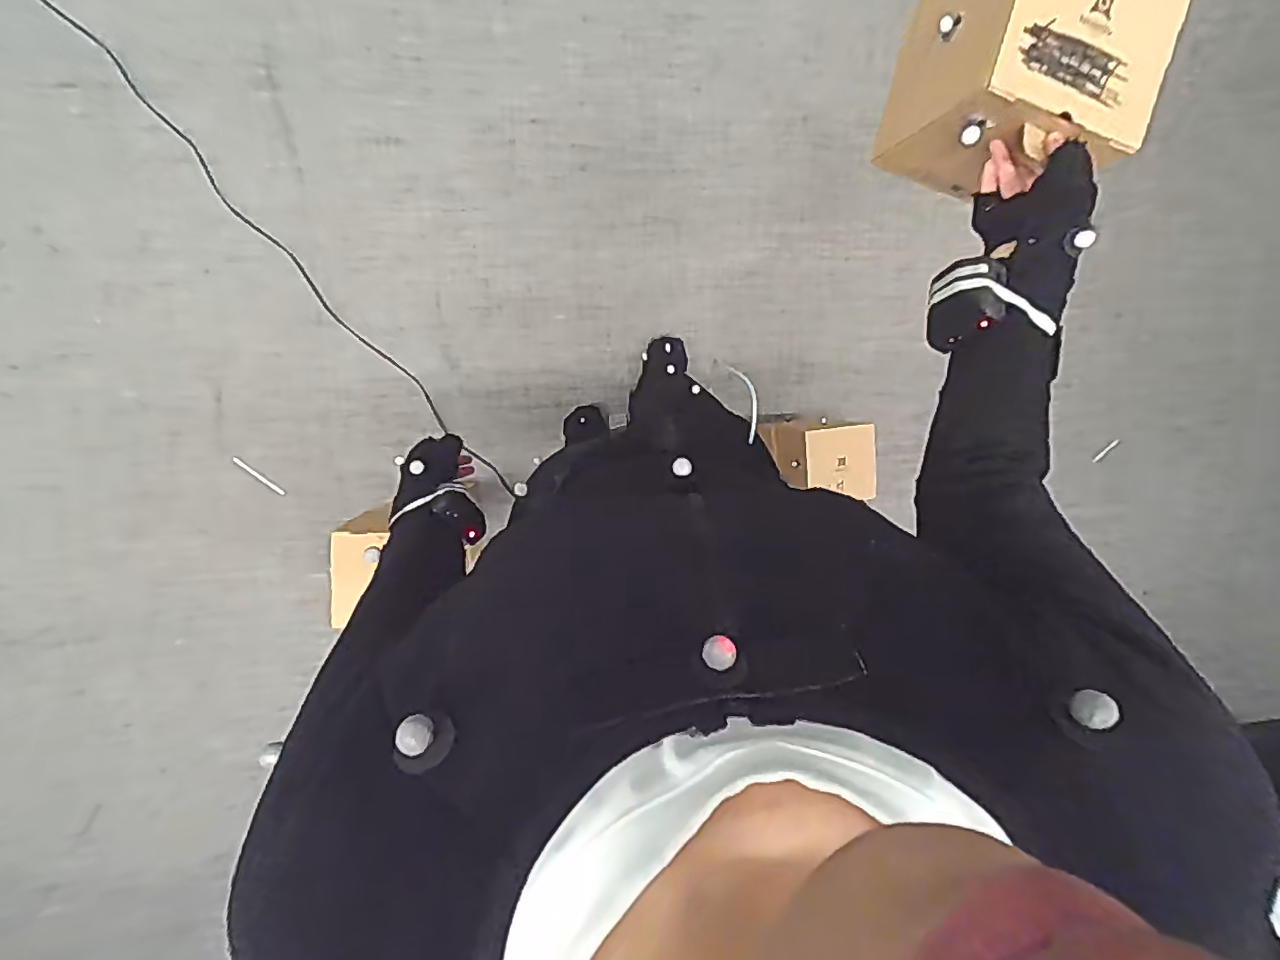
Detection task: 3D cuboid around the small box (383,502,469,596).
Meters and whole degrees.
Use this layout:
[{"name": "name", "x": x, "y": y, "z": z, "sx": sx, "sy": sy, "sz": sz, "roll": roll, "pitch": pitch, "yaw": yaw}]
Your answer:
[{"name": "small box", "x": -0.475, "y": 0.147, "z": 1.185, "sx": 0.168, "sy": 0.176, "sz": 0.179, "roll": -2, "pitch": 100, "yaw": -8}]

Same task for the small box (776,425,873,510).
[{"name": "small box", "x": 0.433, "y": -0.037, "z": 1.290, "sx": 0.168, "sy": 0.176, "sz": 0.179, "roll": -7, "pitch": 100, "yaw": -7}]

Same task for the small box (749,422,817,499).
[{"name": "small box", "x": 0.399, "y": -0.058, "z": 1.449, "sx": 0.168, "sy": 0.176, "sz": 0.179, "roll": -7, "pitch": 99, "yaw": -8}]

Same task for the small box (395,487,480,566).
[{"name": "small box", "x": -0.496, "y": 0.113, "z": 1.345, "sx": 0.168, "sy": 0.176, "sz": 0.179, "roll": -3, "pitch": 98, "yaw": -8}]

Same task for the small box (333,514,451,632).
[{"name": "small box", "x": -0.461, "y": 0.170, "z": 1.025, "sx": 0.168, "sy": 0.176, "sz": 0.179, "roll": 3, "pitch": 98, "yaw": -8}]
